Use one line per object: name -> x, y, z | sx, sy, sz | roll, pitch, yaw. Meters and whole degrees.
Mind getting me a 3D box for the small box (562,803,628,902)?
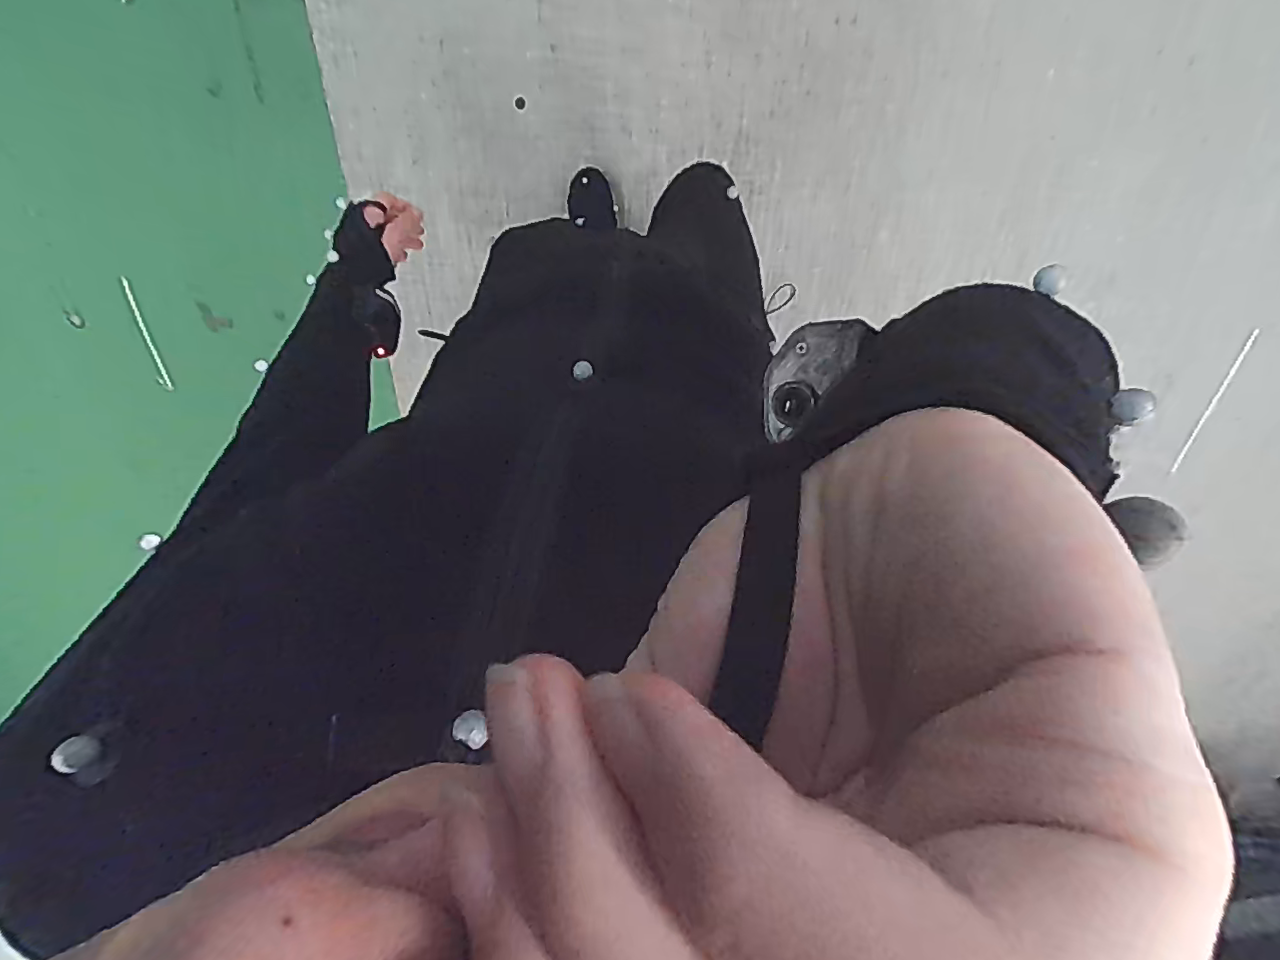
small box -> -0.115, 1.003, 1.460 | 0.168, 0.176, 0.179 | -2, 121, -1
